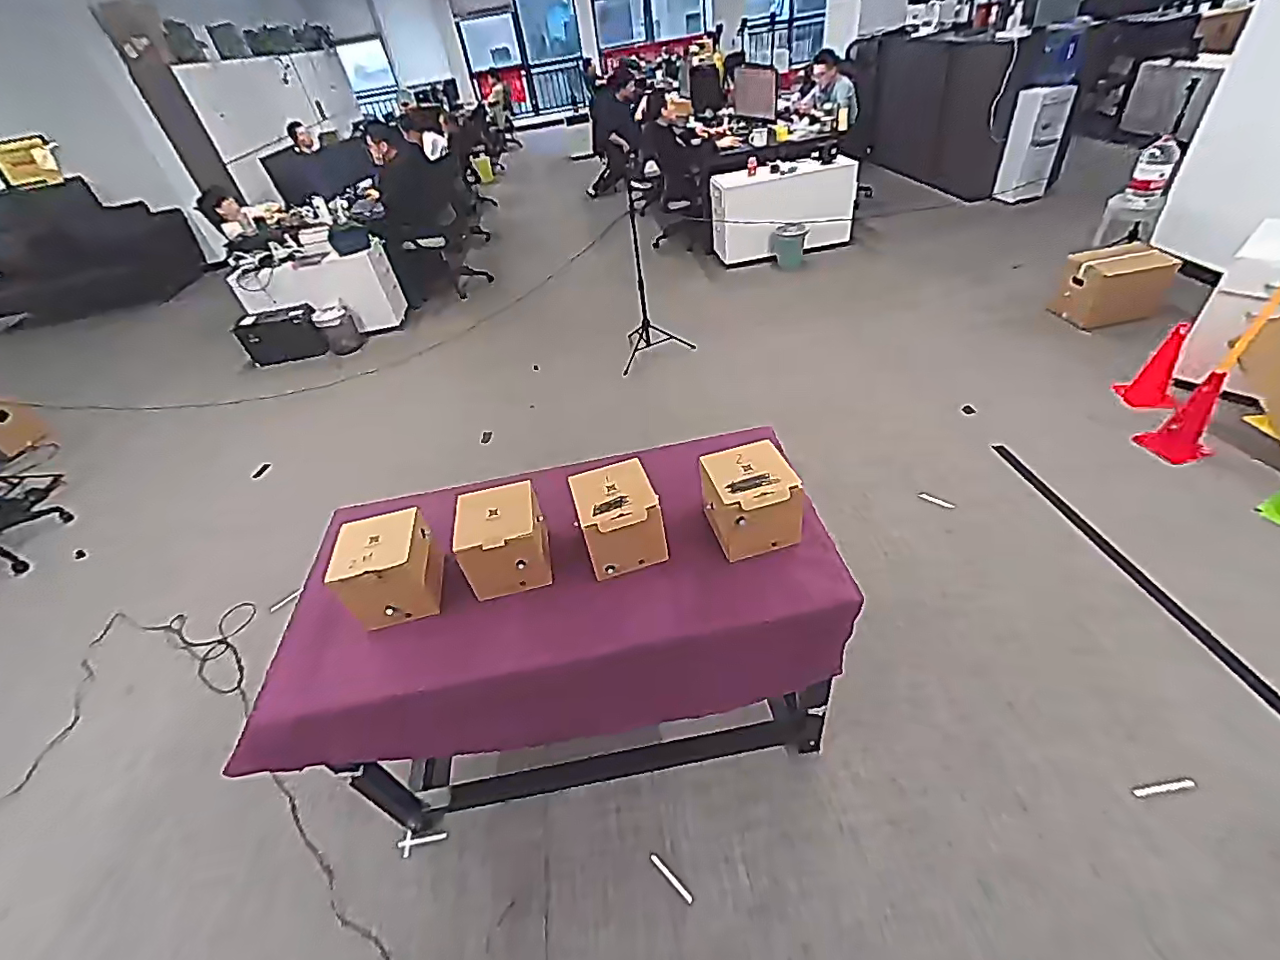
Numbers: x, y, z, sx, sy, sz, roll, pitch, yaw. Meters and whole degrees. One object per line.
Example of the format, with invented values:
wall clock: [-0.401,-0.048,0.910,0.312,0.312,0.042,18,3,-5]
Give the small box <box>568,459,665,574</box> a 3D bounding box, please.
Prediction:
small box: [-0.051,0.087,1.199,0.168,0.176,0.179,-16,40,-7]

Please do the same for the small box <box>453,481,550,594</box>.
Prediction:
small box: [-0.300,0.133,1.198,0.168,0.176,0.179,-12,40,-3]

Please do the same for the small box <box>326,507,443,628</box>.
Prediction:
small box: [-0.543,0.190,1.177,0.168,0.176,0.179,-14,41,-4]
